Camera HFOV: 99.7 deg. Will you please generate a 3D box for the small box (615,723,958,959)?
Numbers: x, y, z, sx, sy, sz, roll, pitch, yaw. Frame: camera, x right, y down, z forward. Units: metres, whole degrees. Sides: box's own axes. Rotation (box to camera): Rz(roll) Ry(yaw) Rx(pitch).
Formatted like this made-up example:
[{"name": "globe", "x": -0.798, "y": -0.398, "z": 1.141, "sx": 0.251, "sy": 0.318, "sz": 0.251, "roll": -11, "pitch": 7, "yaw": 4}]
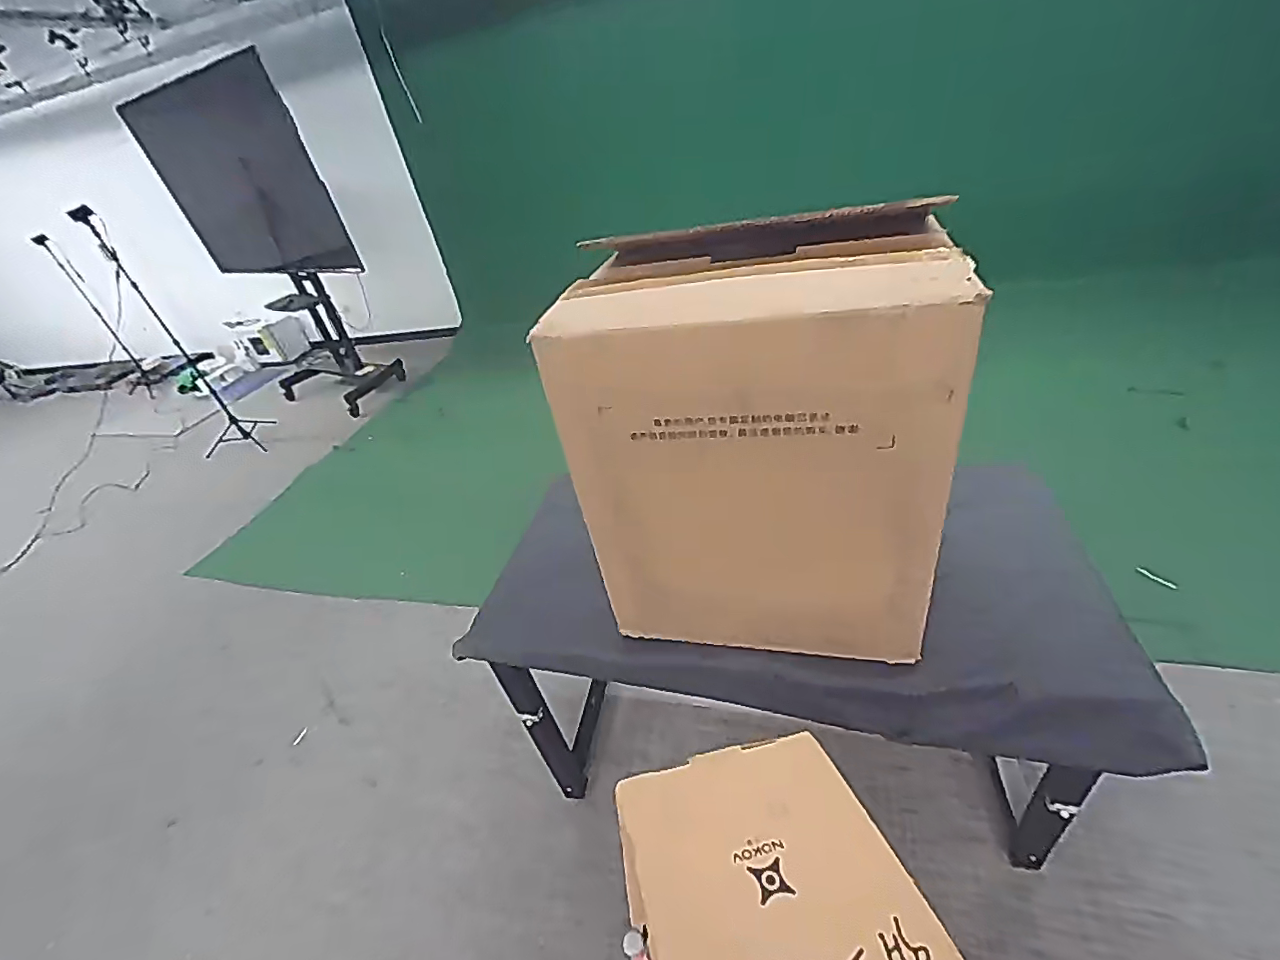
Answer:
[{"name": "small box", "x": 0.083, "y": 0.318, "z": 0.387, "sx": 0.168, "sy": 0.176, "sz": 0.179, "roll": -10, "pitch": 24, "yaw": -11}]
